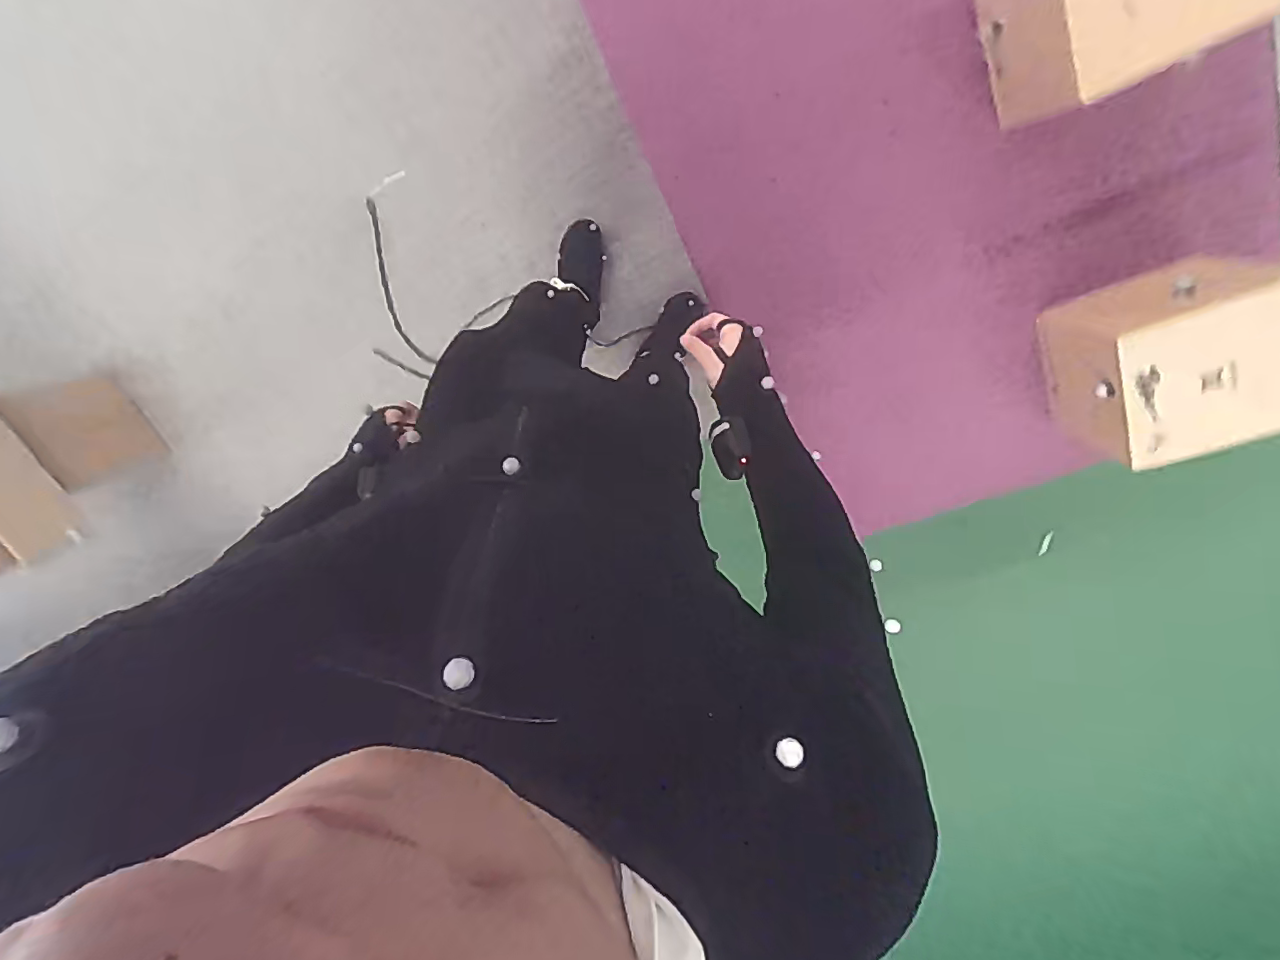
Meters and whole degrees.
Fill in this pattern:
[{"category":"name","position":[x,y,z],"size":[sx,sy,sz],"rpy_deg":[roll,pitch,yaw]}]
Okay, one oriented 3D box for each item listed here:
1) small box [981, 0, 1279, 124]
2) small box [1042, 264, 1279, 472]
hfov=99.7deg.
[{"category":"small box","position":[0.454,-0.467,0.501],"size":[0.179,0.176,0.168],"rpy_deg":[-20,110,19]},{"category":"small box","position":[0.618,-0.137,0.630],"size":[0.179,0.176,0.168],"rpy_deg":[-19,109,17]}]
